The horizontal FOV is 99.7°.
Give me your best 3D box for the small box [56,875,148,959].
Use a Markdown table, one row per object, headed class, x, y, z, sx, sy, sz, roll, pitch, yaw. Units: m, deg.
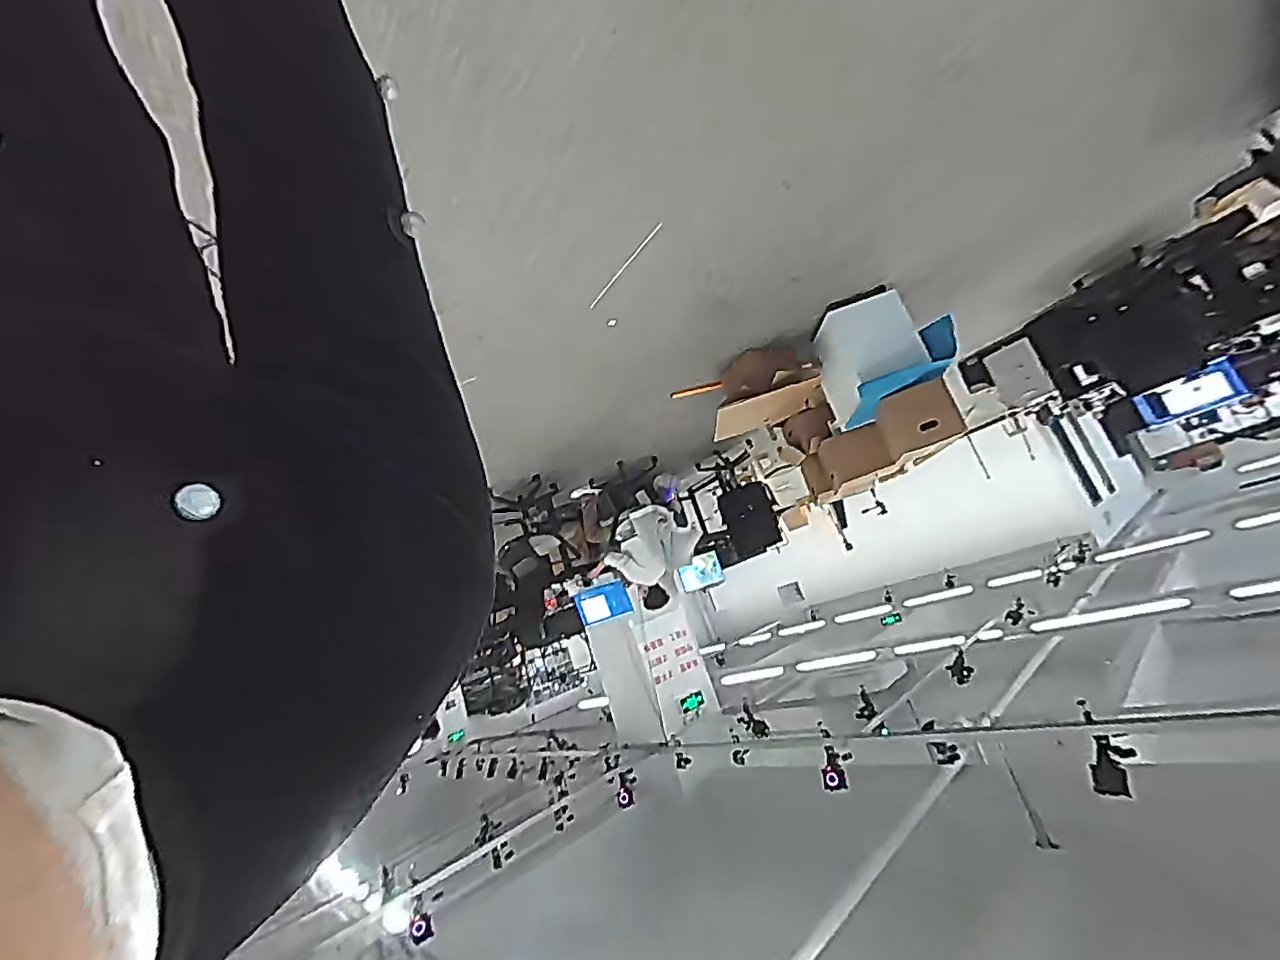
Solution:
| class | x | y | z | sx | sy | sz | roll | pitch | yaw |
| --- | --- | --- | --- | --- | --- | --- | --- | --- | --- |
| small box | -1.473 | 1.223 | 1.485 | 0.168 | 0.176 | 0.179 | -7 | 163 | -45 |
